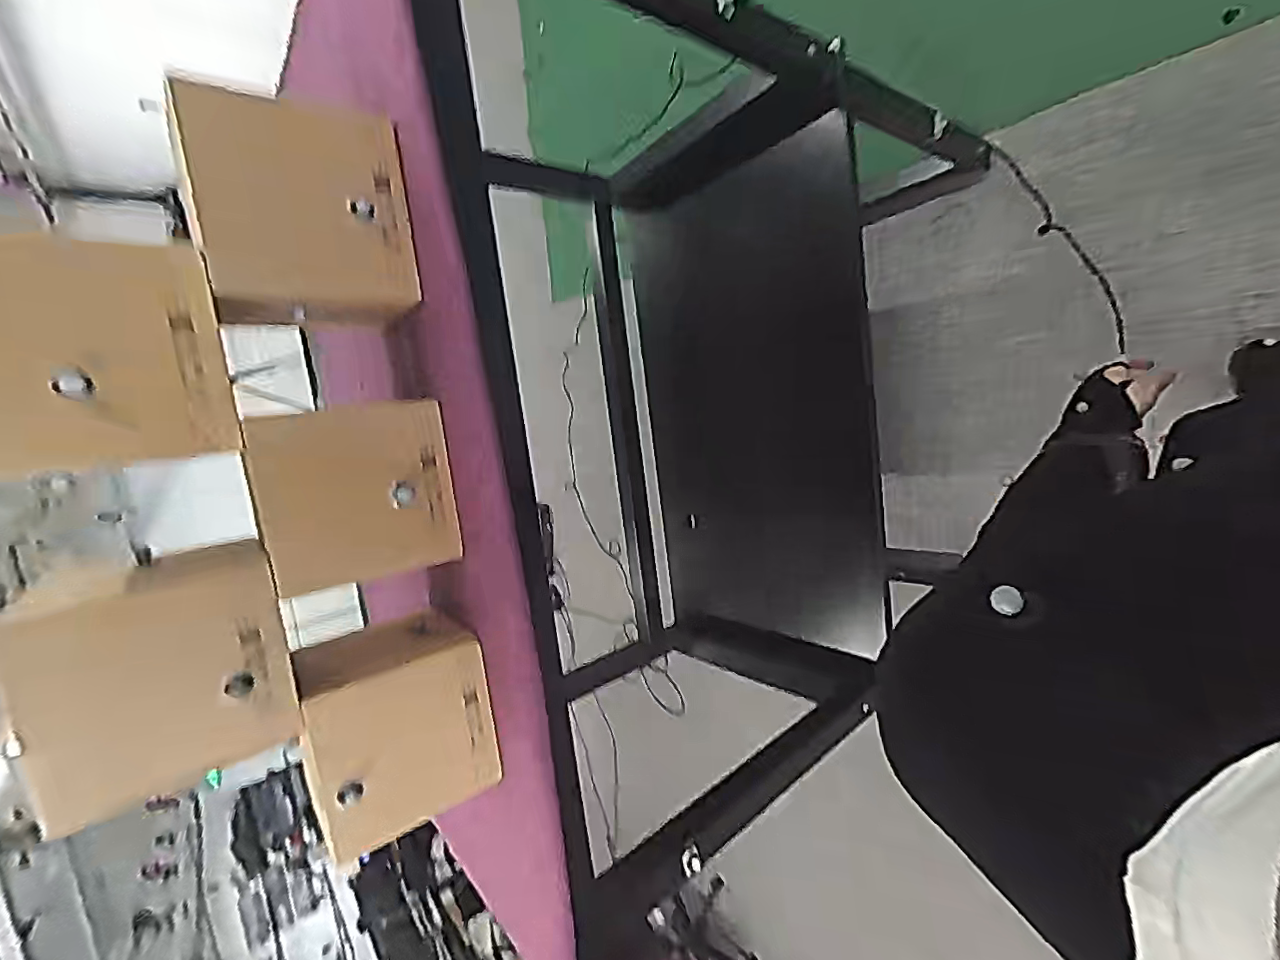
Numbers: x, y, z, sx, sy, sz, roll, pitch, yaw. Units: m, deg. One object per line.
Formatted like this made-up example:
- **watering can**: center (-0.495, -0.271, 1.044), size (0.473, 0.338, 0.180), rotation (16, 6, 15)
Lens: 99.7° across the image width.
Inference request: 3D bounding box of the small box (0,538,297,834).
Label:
- **small box**: center (-0.425, 0.157, 0.488), size (0.179, 0.176, 0.168), rotation (5, 104, 50)

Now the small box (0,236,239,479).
- **small box**: center (-0.453, -0.097, 0.453), size (0.179, 0.176, 0.168), rotation (4, 103, 51)

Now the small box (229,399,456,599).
- **small box**: center (-0.312, 0.009, 0.571), size (0.179, 0.176, 0.168), rotation (2, 102, 51)

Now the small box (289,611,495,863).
- **small box**: center (-0.278, 0.258, 0.599), size (0.179, 0.176, 0.168), rotation (0, 101, 52)
